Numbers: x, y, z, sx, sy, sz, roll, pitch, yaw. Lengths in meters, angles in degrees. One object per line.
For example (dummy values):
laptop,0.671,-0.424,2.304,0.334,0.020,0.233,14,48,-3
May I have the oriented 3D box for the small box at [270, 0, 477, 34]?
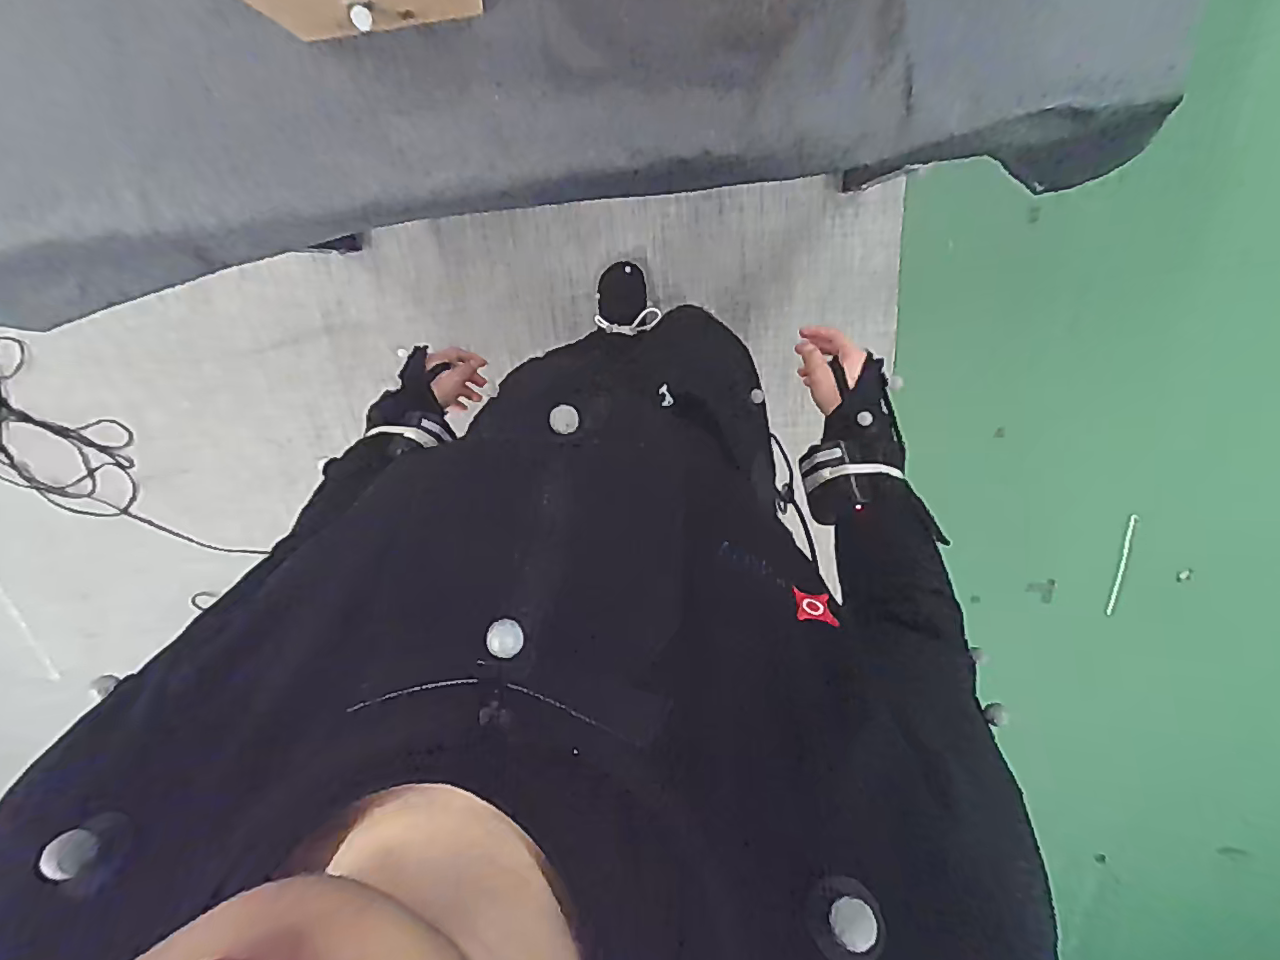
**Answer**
small box,-0.227,-0.452,0.370,0.168,0.176,0.179,-6,112,3
